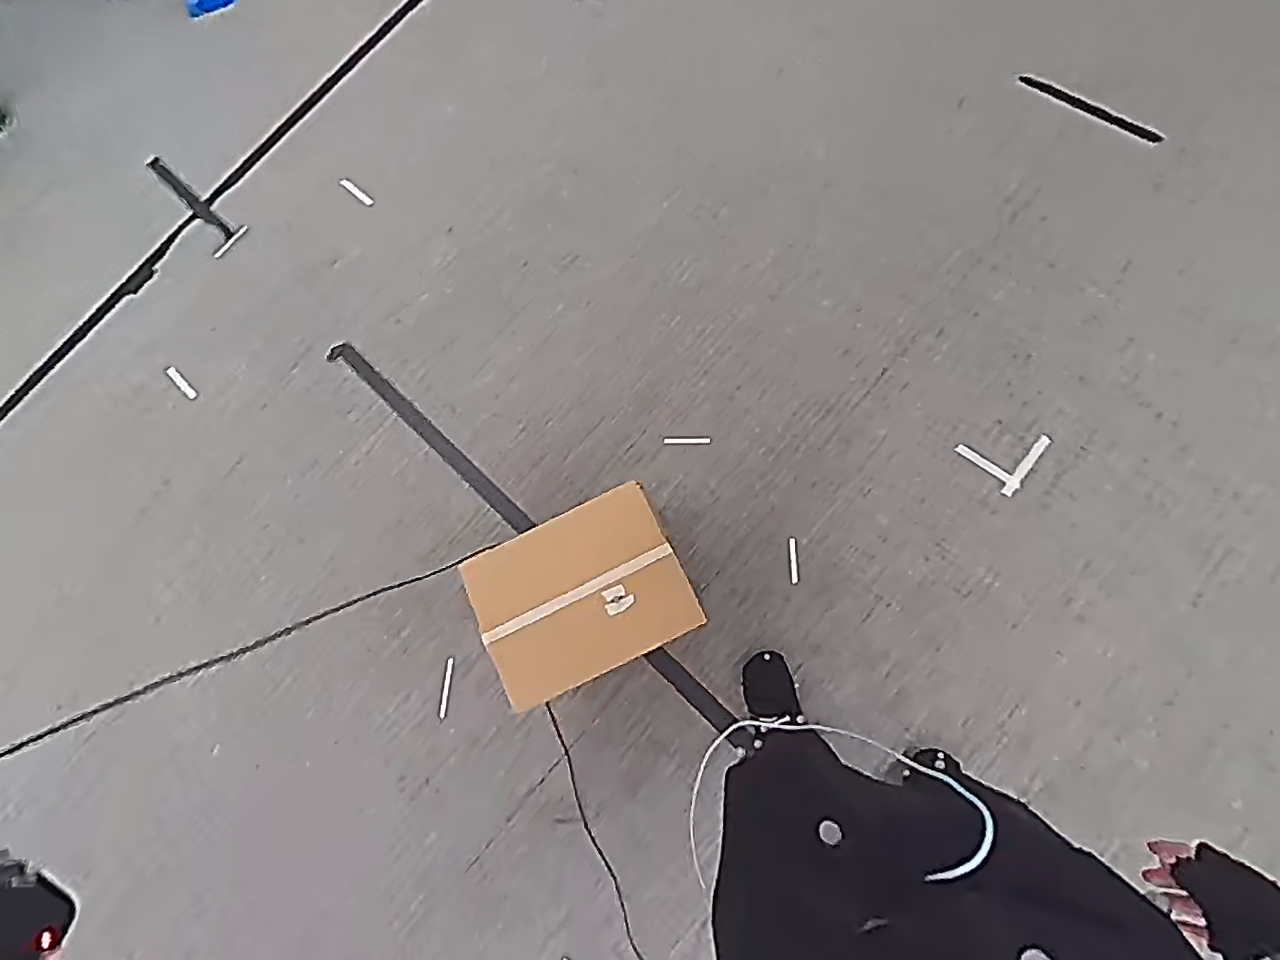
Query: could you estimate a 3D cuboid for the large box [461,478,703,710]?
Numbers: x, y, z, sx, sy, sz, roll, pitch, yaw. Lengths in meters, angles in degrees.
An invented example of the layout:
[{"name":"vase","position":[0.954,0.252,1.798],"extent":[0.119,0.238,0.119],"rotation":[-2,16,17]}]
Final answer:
[{"name":"large box","position":[-0.107,0.247,1.196],"extent":[0.408,0.320,0.320],"rotation":[-26,78,0]}]
